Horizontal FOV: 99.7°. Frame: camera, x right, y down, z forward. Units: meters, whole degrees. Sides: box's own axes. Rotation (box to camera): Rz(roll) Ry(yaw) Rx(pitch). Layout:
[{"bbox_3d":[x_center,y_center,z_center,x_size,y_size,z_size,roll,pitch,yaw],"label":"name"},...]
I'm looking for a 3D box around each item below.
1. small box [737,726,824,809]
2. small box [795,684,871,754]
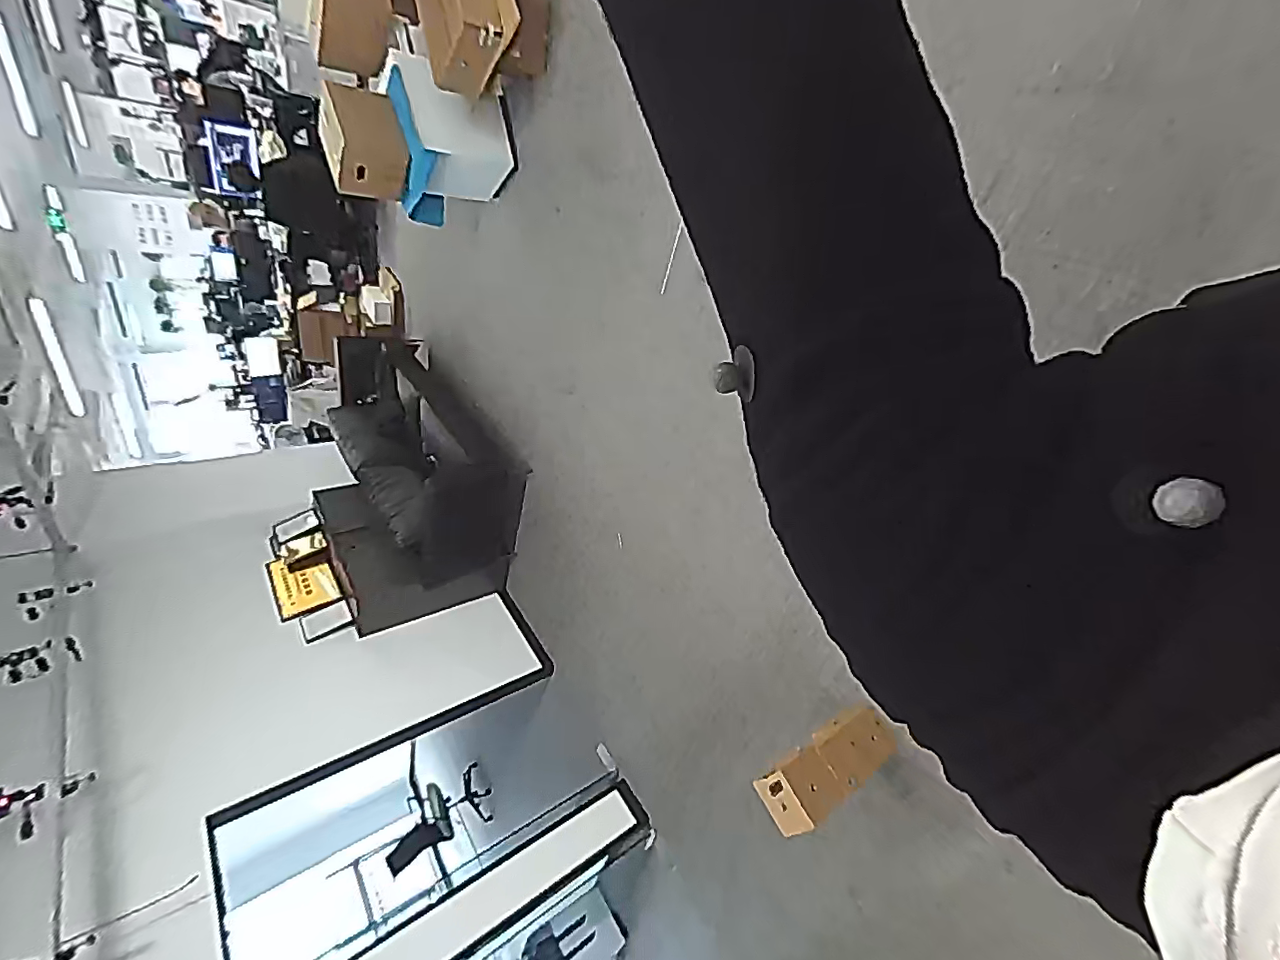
[{"bbox_3d":[0.457,0.926,1.760,0.179,0.176,0.168,56,139,21],"label":"small box"},{"bbox_3d":[0.707,0.862,1.961,0.168,0.176,0.179,62,141,17],"label":"small box"}]
